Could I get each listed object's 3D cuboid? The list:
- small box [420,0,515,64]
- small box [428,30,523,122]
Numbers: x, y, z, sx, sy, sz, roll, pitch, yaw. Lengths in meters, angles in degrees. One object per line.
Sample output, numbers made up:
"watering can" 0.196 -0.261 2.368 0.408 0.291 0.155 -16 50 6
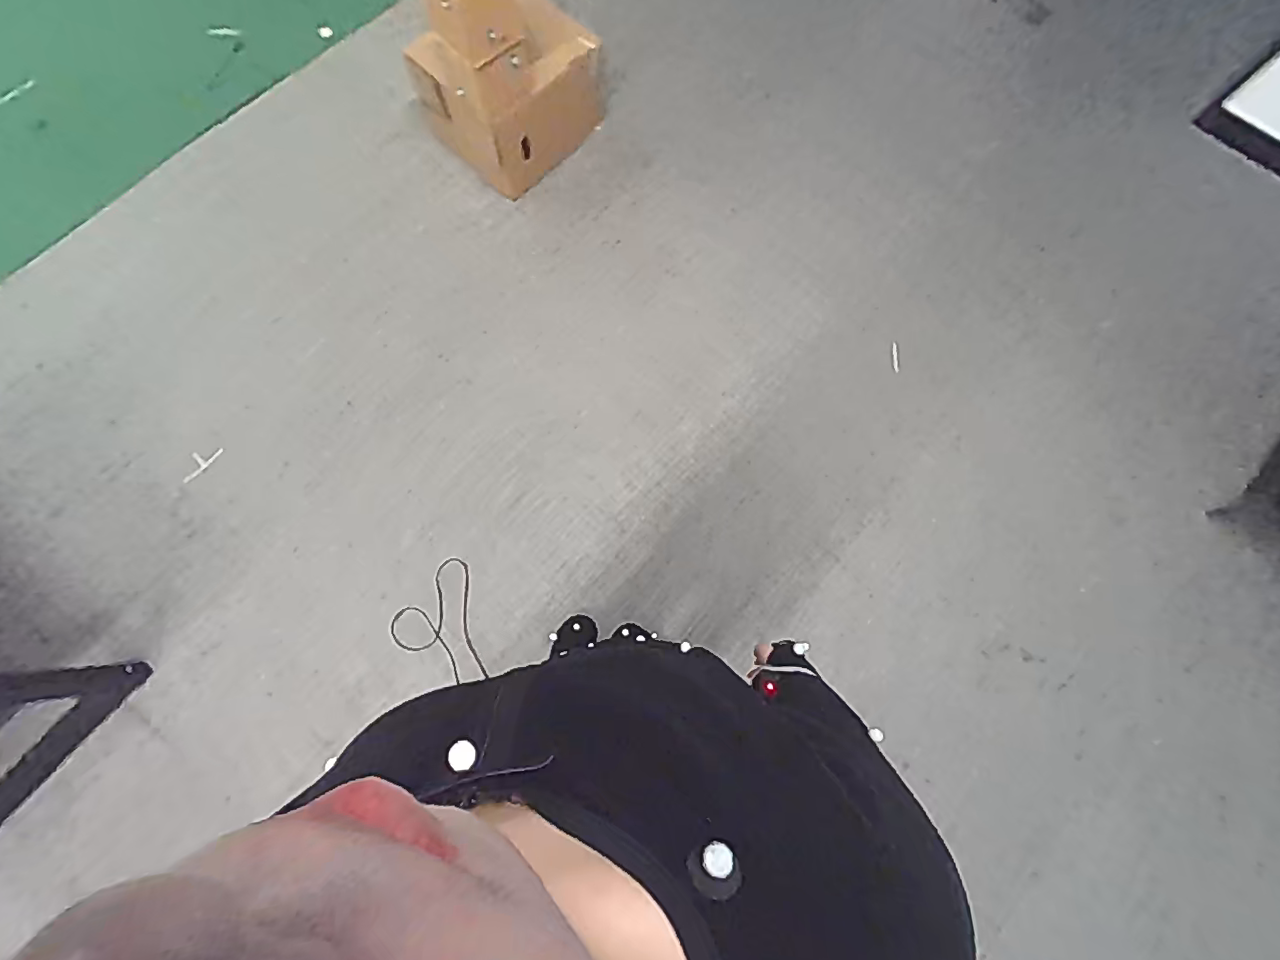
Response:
"small box" -0.433 -1.186 1.332 0.168 0.176 0.179 -43 82 -12
"small box" -0.442 -1.145 1.490 0.168 0.176 0.179 44 78 9
